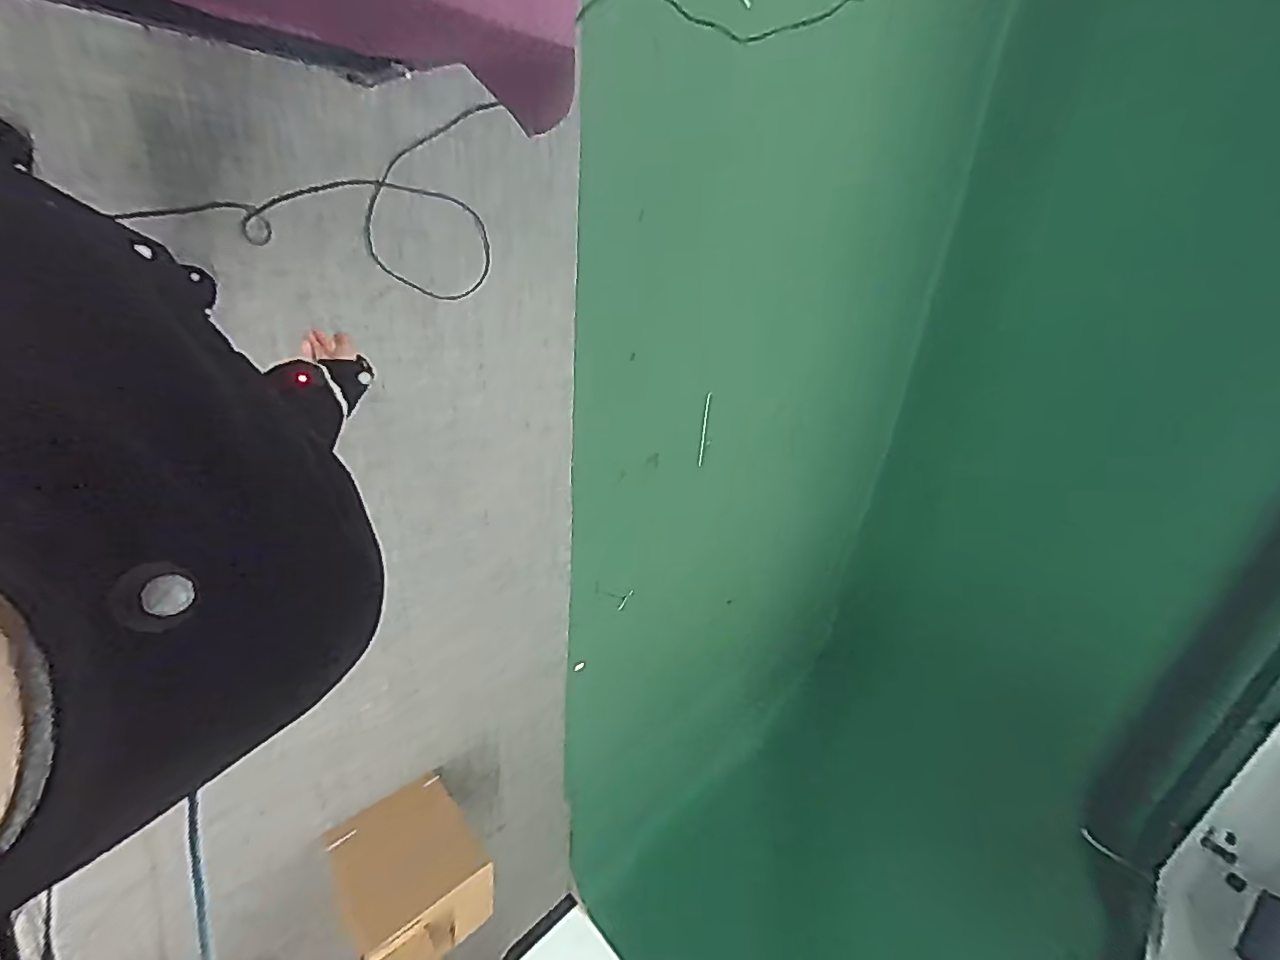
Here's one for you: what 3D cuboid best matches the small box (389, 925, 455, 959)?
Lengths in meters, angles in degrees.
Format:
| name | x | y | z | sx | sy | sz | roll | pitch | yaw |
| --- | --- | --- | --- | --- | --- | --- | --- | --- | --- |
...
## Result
| name | x | y | z | sx | sy | sz | roll | pitch | yaw |
| --- | --- | --- | --- | --- | --- | --- | --- | --- | --- |
| small box | -0.659 | 1.518 | 1.637 | 0.179 | 0.176 | 0.168 | -18 | 123 | -41 |
